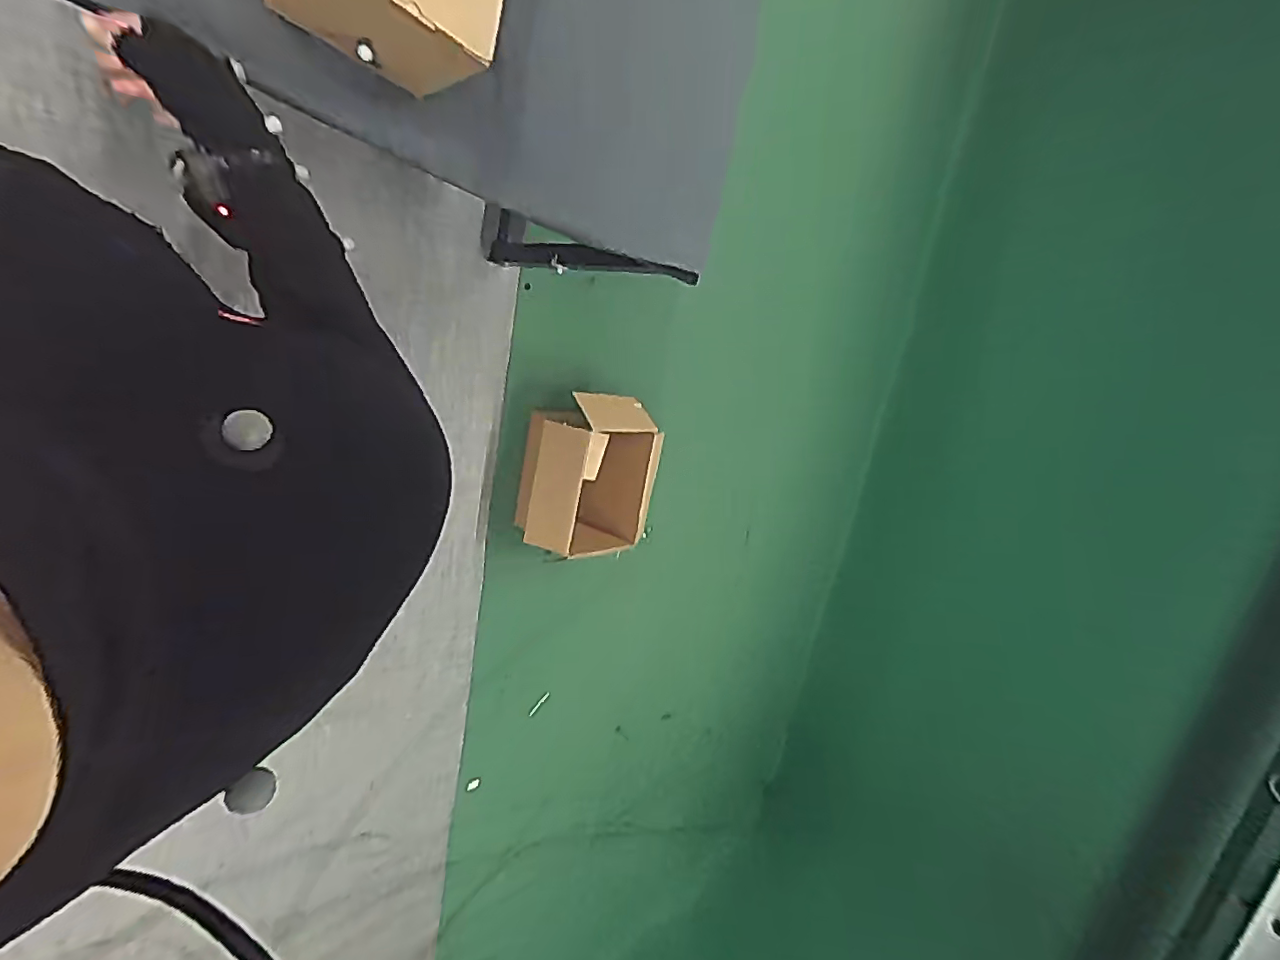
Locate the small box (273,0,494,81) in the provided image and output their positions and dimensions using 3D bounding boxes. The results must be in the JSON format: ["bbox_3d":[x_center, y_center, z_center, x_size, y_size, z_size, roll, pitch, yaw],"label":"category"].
[{"bbox_3d":[-0.252,-0.543,0.534,0.168,0.176,0.179,4,104,-49],"label":"small box"}]
